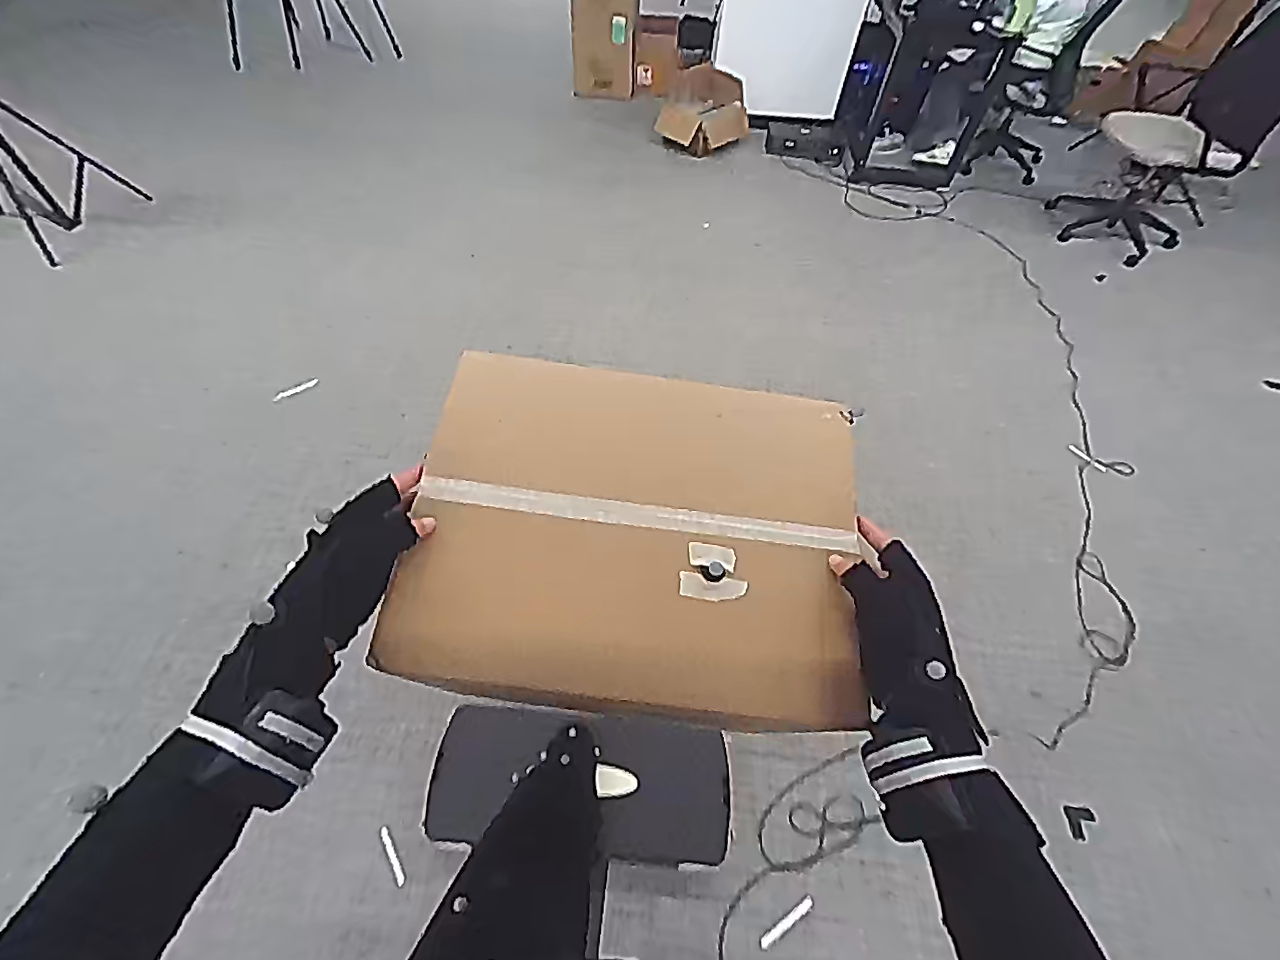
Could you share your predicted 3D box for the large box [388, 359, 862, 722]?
[{"bbox_3d":[-0.010,0.096,0.641,0.408,0.320,0.320,8,65,-2],"label":"large box"}]
